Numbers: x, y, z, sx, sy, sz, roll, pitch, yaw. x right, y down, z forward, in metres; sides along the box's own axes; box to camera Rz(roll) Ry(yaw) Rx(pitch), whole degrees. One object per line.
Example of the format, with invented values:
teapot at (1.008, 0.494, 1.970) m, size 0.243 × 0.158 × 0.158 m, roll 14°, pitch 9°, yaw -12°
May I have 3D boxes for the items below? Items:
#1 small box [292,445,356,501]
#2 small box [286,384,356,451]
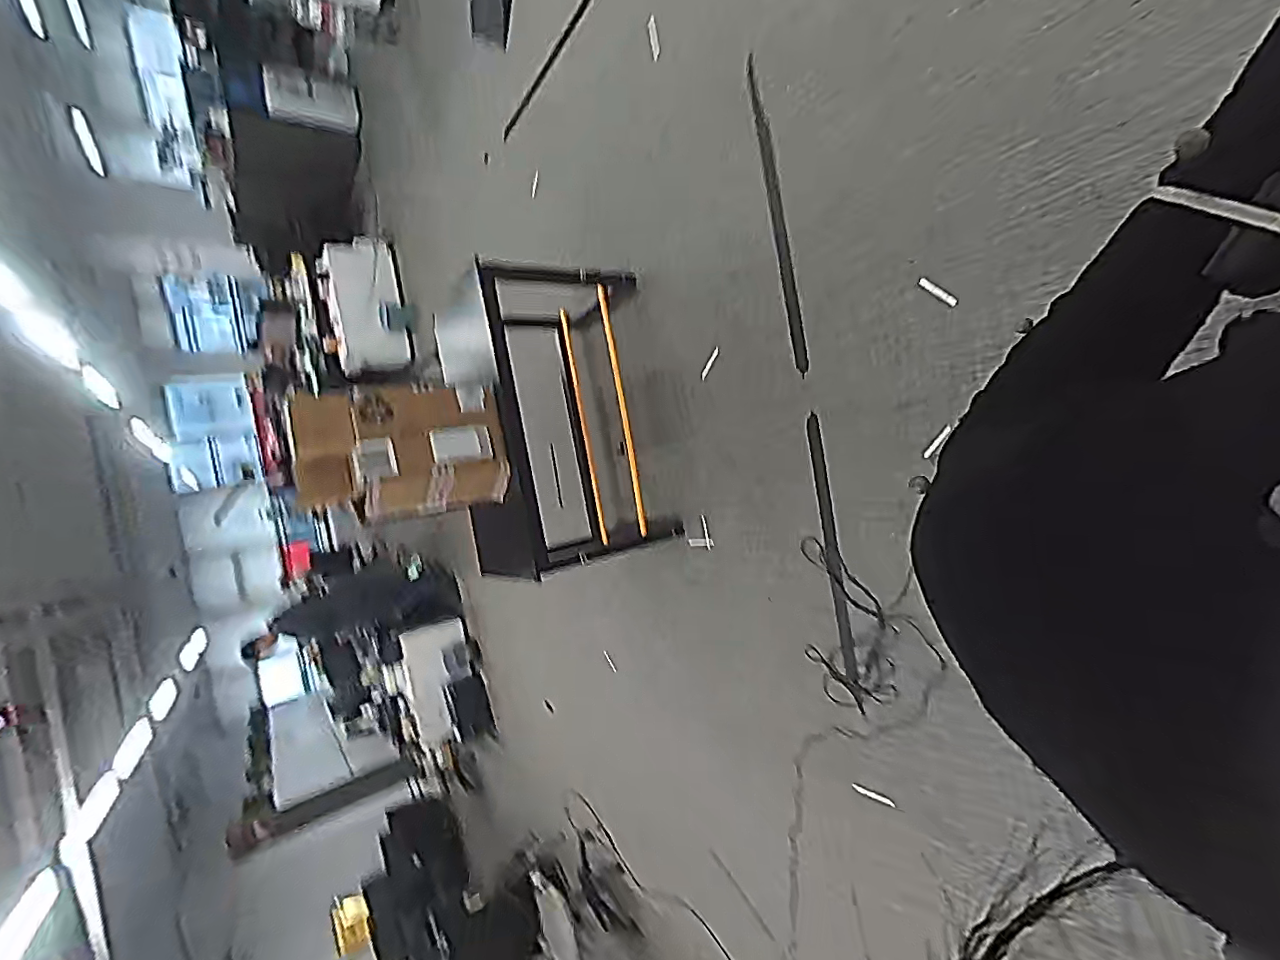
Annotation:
small box at (-1.117, -0.030, 1.908) m, size 0.168 × 0.176 × 0.179 m, roll -16°, pitch 86°, yaw 58°
small box at (-1.028, -0.202, 1.744) m, size 0.168 × 0.176 × 0.179 m, roll -16°, pitch 85°, yaw 56°
